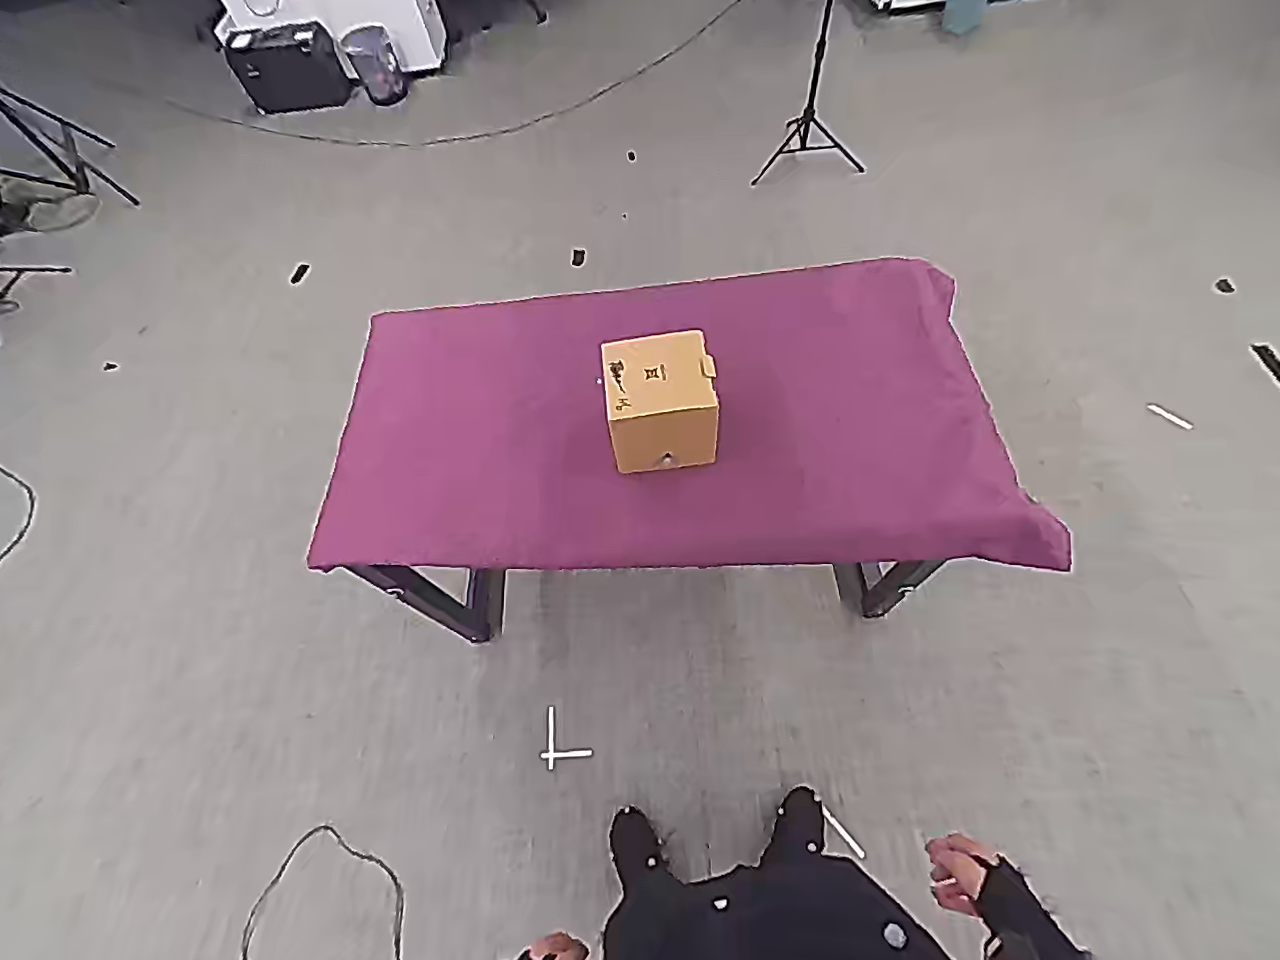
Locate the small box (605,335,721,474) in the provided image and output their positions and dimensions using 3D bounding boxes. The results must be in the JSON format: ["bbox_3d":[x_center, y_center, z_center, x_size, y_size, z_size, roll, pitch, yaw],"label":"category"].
[{"bbox_3d":[0.038,-0.126,0.942,0.179,0.176,0.168,-7,59,1],"label":"small box"}]
